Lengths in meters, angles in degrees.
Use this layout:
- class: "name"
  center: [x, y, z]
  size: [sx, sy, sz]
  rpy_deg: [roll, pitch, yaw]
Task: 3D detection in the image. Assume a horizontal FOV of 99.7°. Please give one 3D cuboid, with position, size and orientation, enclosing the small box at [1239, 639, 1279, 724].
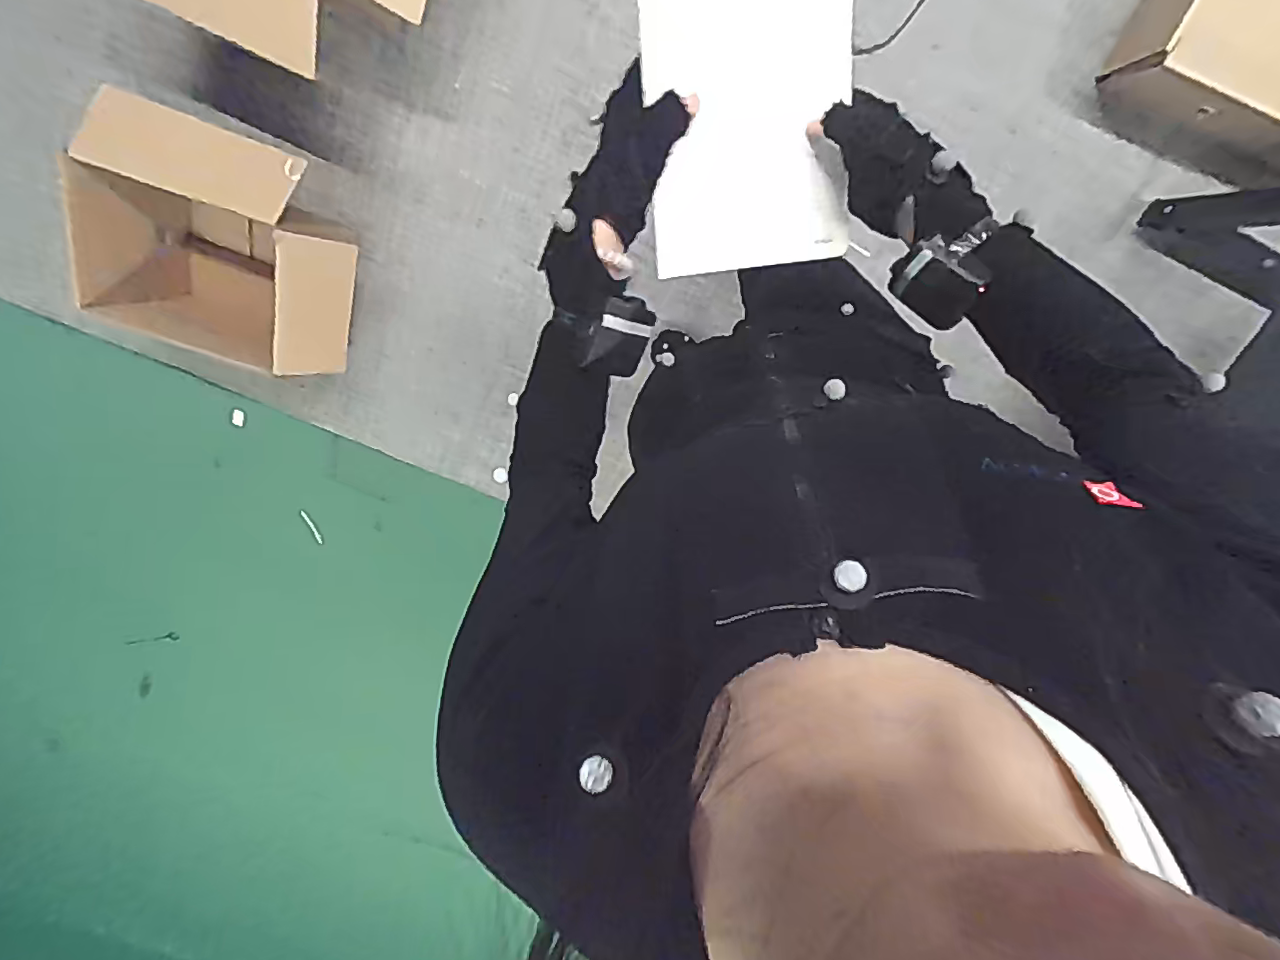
- class: "small box"
  center: [1.021, 0.311, 0.754]
  size: [0.168, 0.176, 0.179]
  rpy_deg: [23, 112, -8]
